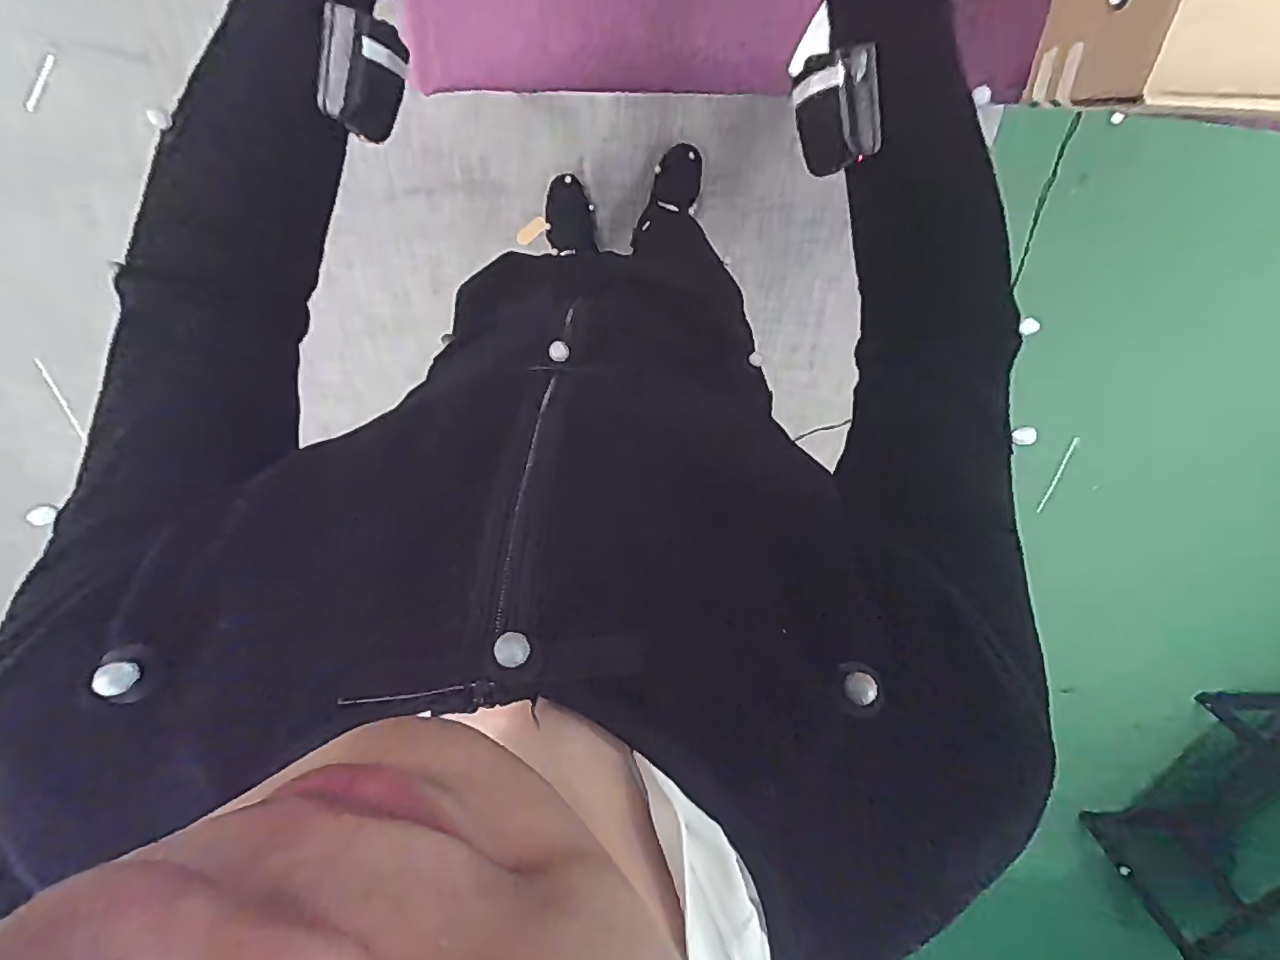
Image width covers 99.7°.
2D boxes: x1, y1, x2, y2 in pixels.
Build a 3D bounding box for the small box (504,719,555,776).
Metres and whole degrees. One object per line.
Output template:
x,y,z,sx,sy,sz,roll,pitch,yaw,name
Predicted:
-0.392,0.970,1.909,0.168,0.176,0.179,5,119,-9,small box
